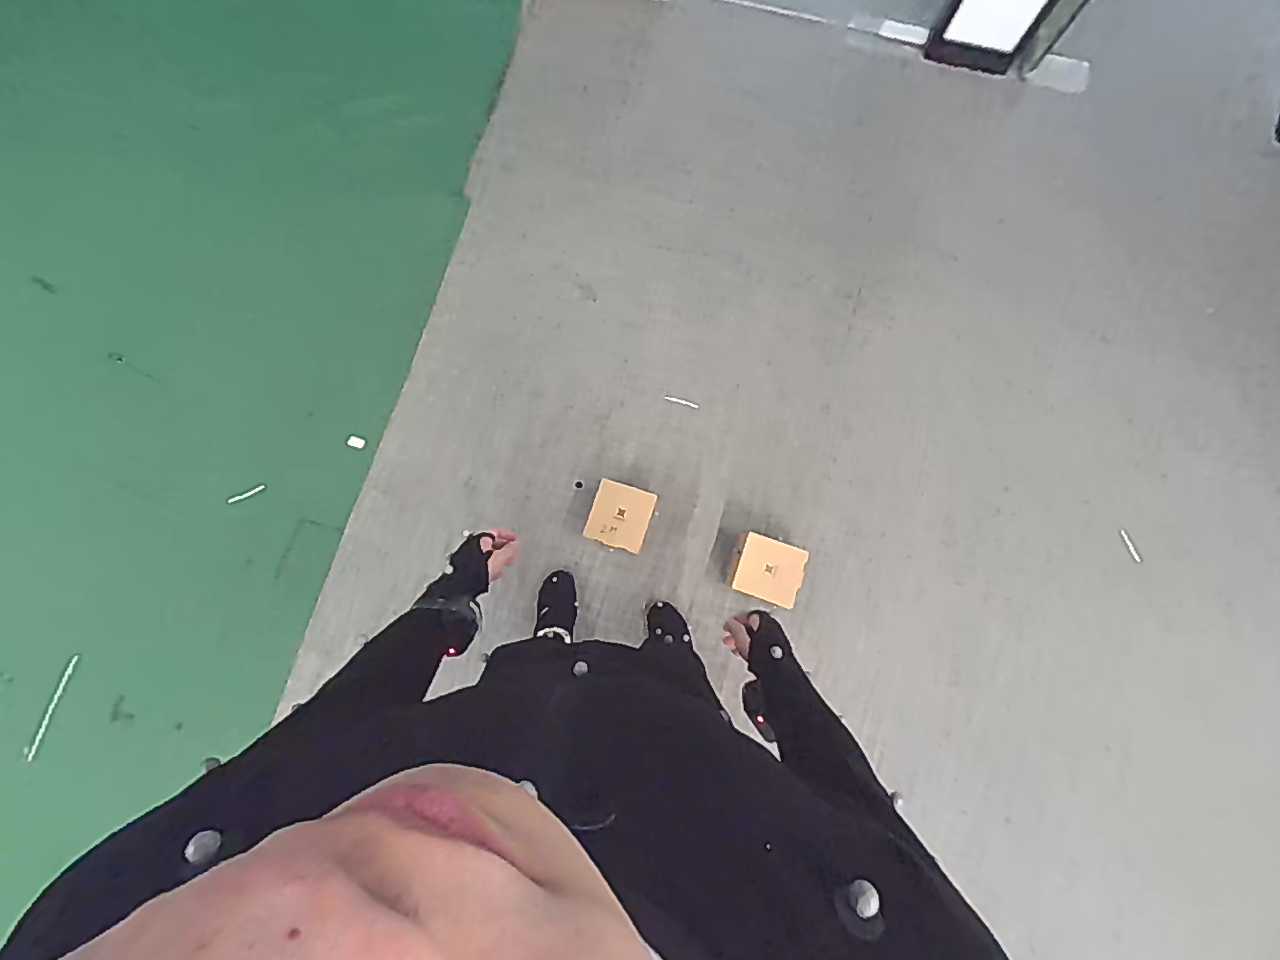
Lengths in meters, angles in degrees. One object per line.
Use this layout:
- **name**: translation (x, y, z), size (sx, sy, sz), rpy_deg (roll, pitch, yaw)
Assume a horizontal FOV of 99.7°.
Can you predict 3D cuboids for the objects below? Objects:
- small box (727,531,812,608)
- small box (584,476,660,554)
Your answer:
- **small box**: translation (0.359, 0.254, 1.536), size (0.179, 0.176, 0.168), rpy_deg (19, 83, 3)
- **small box**: translation (-0.049, 0.106, 1.565), size (0.168, 0.176, 0.179), rpy_deg (19, 82, 5)
